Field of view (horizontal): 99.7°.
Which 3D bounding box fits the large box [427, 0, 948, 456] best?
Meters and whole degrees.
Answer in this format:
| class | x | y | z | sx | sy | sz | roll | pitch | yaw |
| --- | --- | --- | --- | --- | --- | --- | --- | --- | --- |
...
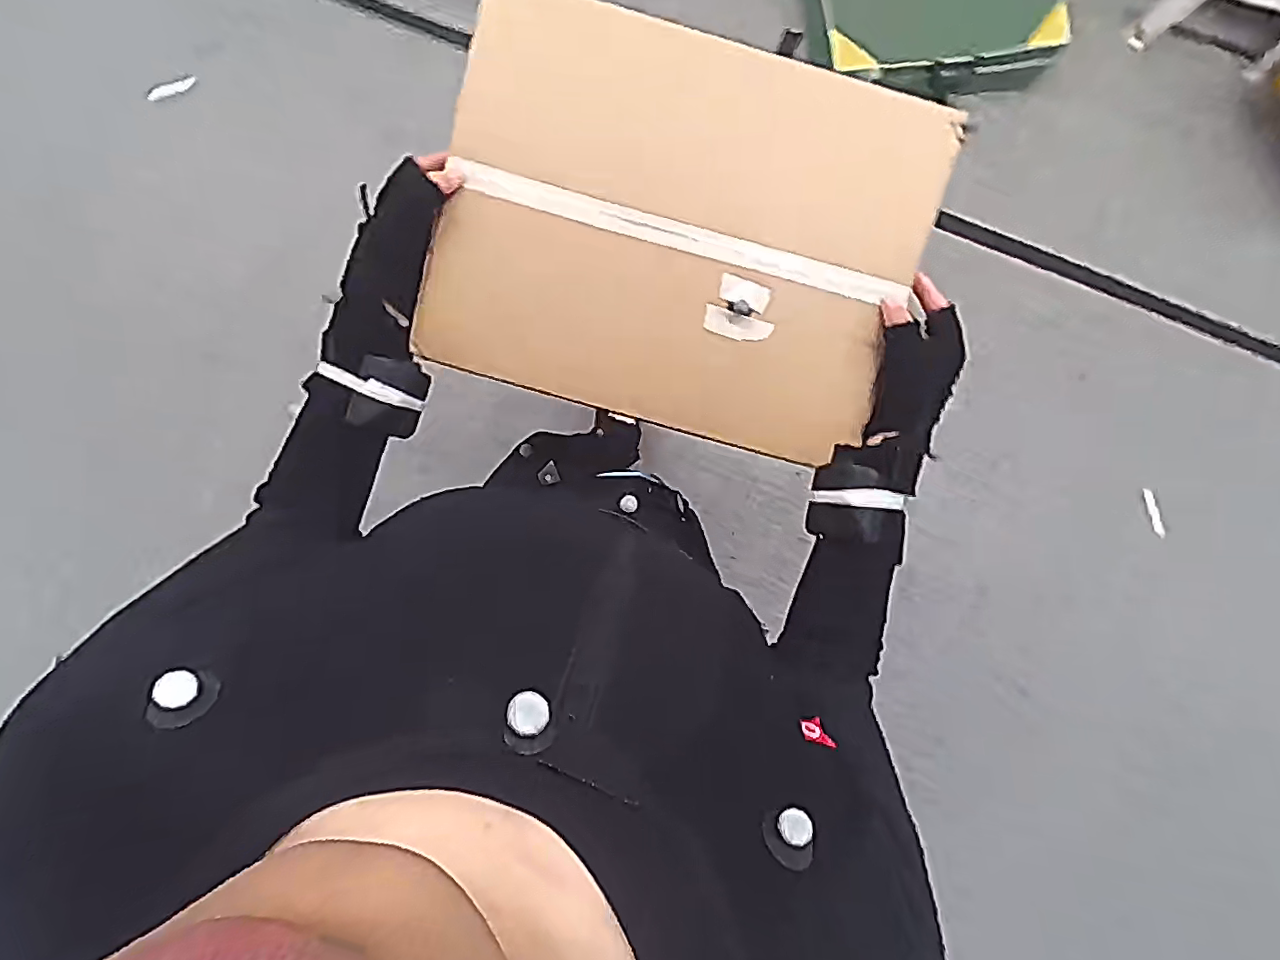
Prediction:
| class | x | y | z | sx | sy | sz | roll | pitch | yaw |
| --- | --- | --- | --- | --- | --- | --- | --- | --- | --- |
| large box | 0.033 | -0.234 | 0.620 | 0.408 | 0.320 | 0.320 | 15 | 98 | -3 |
